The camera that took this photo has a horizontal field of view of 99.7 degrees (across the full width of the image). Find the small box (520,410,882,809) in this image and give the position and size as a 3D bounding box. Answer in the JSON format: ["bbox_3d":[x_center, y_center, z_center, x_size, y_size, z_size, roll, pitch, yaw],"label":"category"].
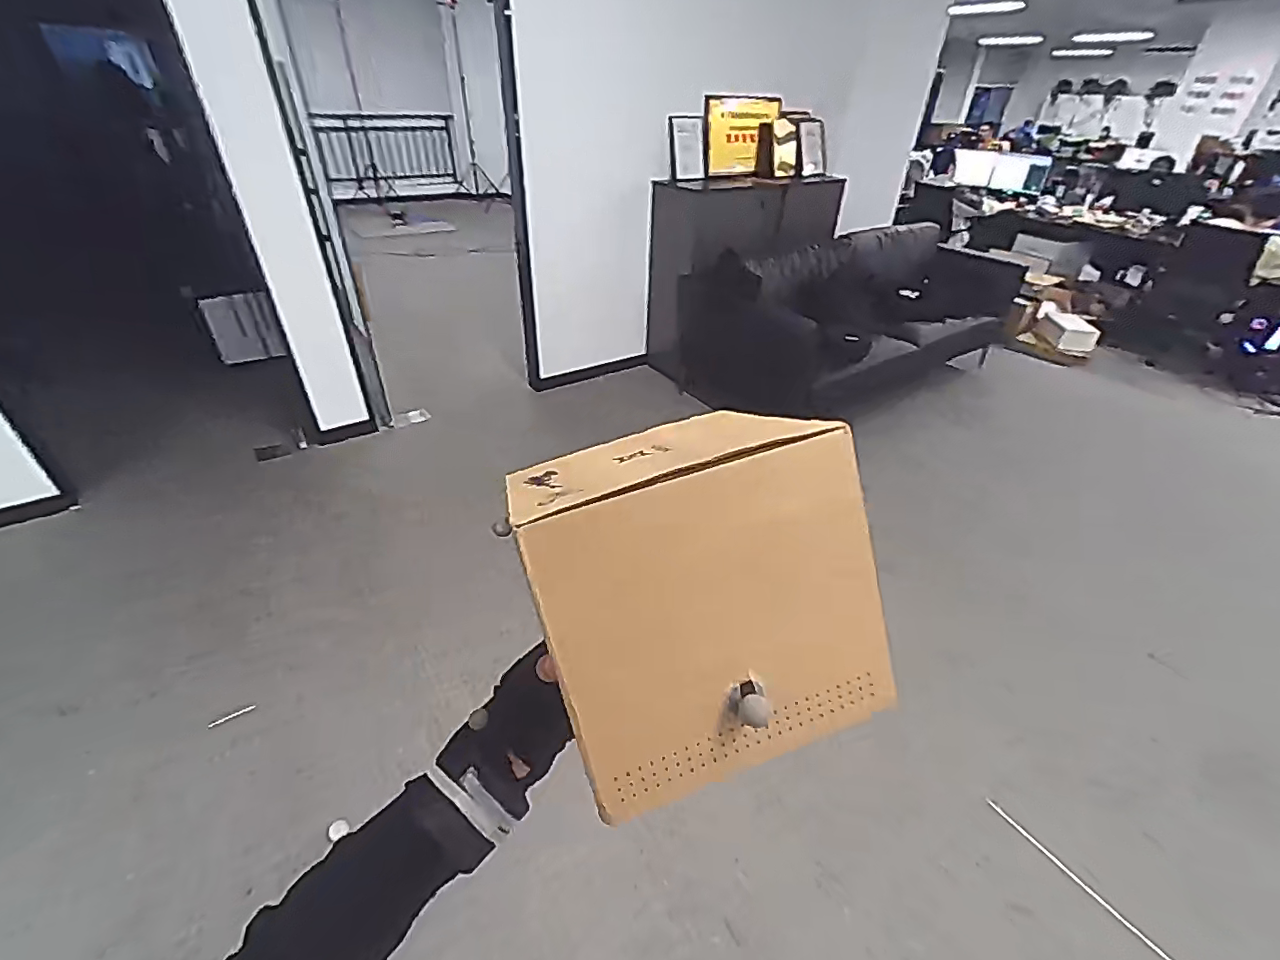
[{"bbox_3d":[0.031,0.059,0.344,0.179,0.176,0.168,-15,12,-11],"label":"small box"}]
